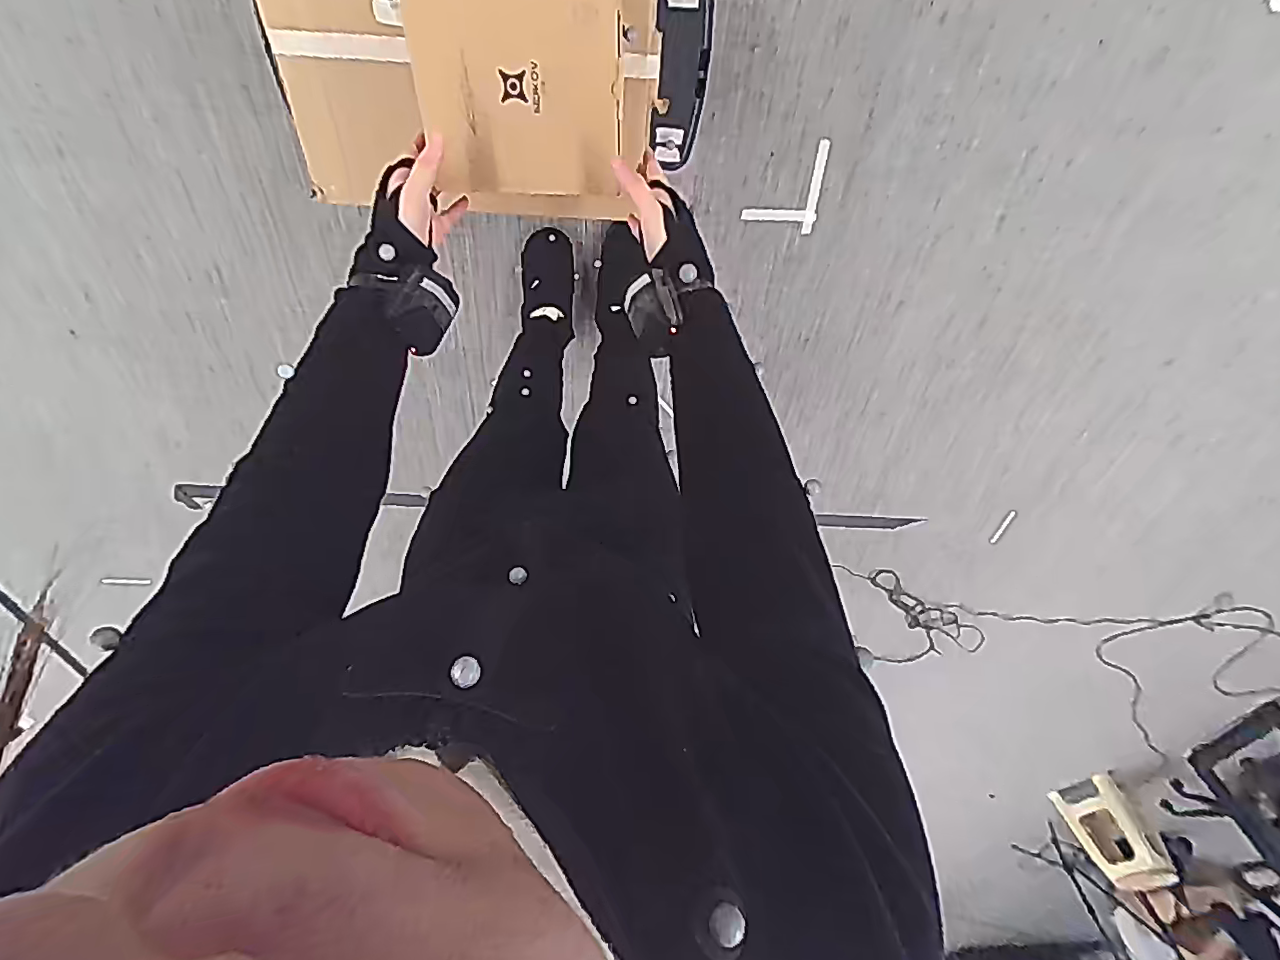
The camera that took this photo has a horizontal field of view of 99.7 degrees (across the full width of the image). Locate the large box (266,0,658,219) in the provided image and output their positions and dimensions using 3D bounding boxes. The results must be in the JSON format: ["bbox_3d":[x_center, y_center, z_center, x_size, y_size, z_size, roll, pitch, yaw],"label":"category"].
[{"bbox_3d":[-0.182,-0.547,0.689,0.408,0.320,0.320,2,129,-2],"label":"large box"}]

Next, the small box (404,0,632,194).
[{"bbox_3d":[-0.098,-0.383,0.509,0.179,0.176,0.168,1,130,-2],"label":"small box"}]
